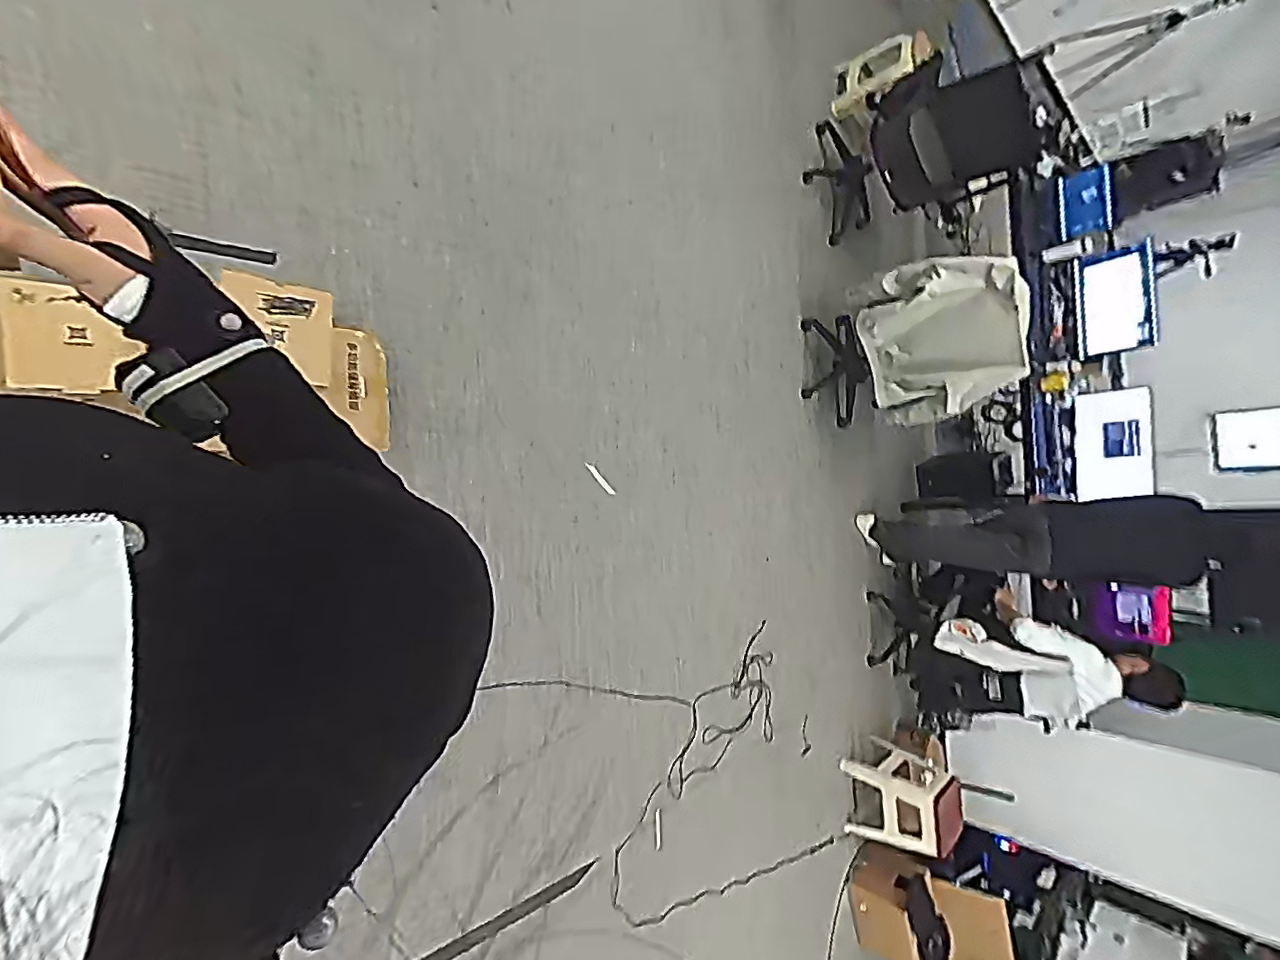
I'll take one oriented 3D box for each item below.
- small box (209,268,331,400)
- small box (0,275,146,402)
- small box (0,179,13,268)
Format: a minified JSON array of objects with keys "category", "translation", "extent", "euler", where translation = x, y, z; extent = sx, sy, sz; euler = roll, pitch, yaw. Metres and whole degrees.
[{"category":"small box","translation":[-0.680,-0.256,0.991],"extent":[0.168,0.176,0.179],"euler":[2,86,-41]},{"category":"small box","translation":[-0.980,-0.233,0.942],"extent":[0.168,0.176,0.179],"euler":[-5,91,-42]},{"category":"small box","translation":[-0.501,-0.231,0.307],"extent":[0.168,0.176,0.179],"euler":[-15,106,-46]}]
